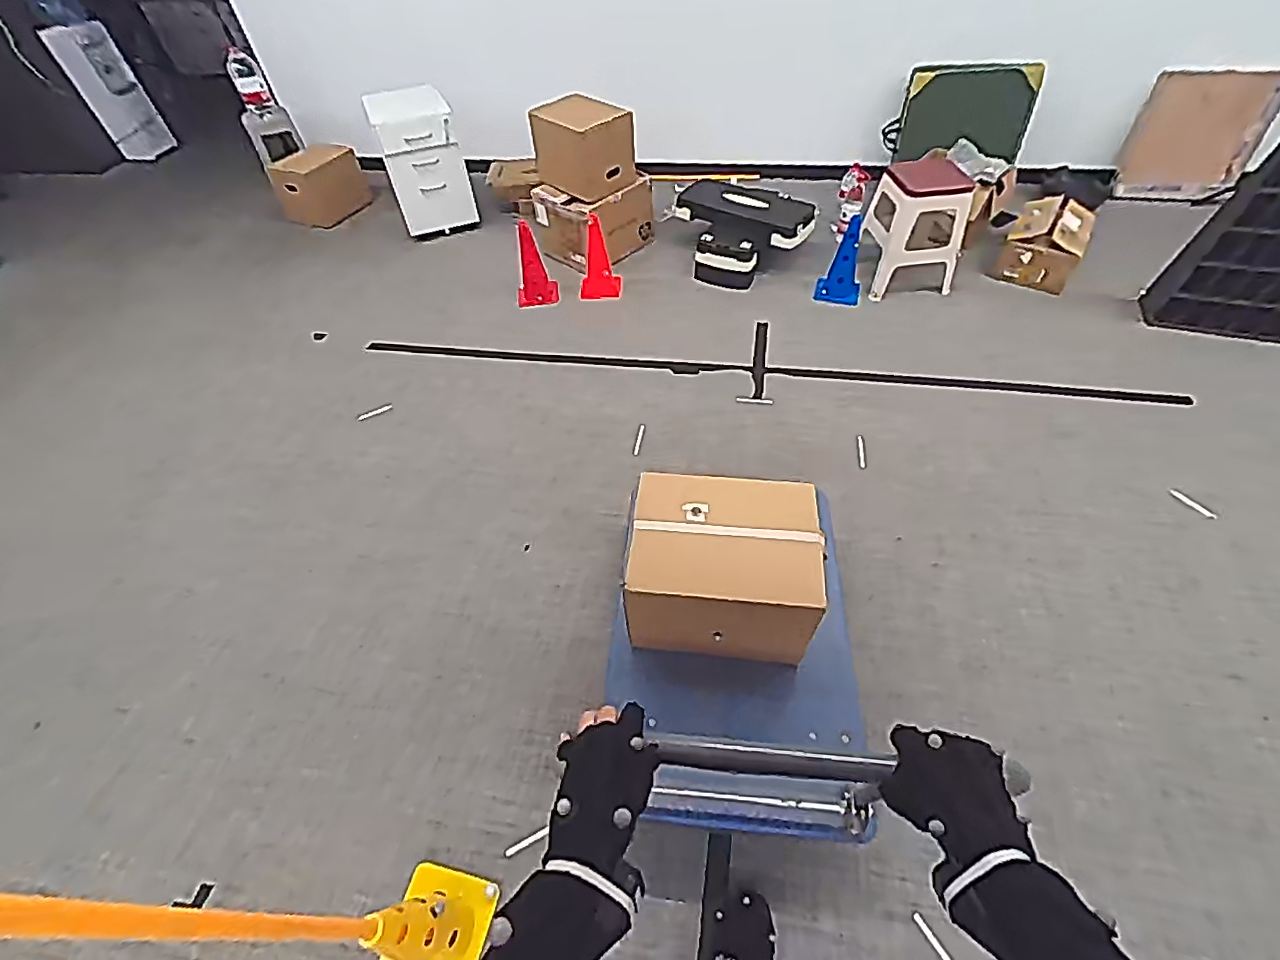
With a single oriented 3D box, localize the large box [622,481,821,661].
[{"bbox_3d":[0.187,0.221,1.292,0.408,0.320,0.320,3,52,7],"label":"large box"}]
